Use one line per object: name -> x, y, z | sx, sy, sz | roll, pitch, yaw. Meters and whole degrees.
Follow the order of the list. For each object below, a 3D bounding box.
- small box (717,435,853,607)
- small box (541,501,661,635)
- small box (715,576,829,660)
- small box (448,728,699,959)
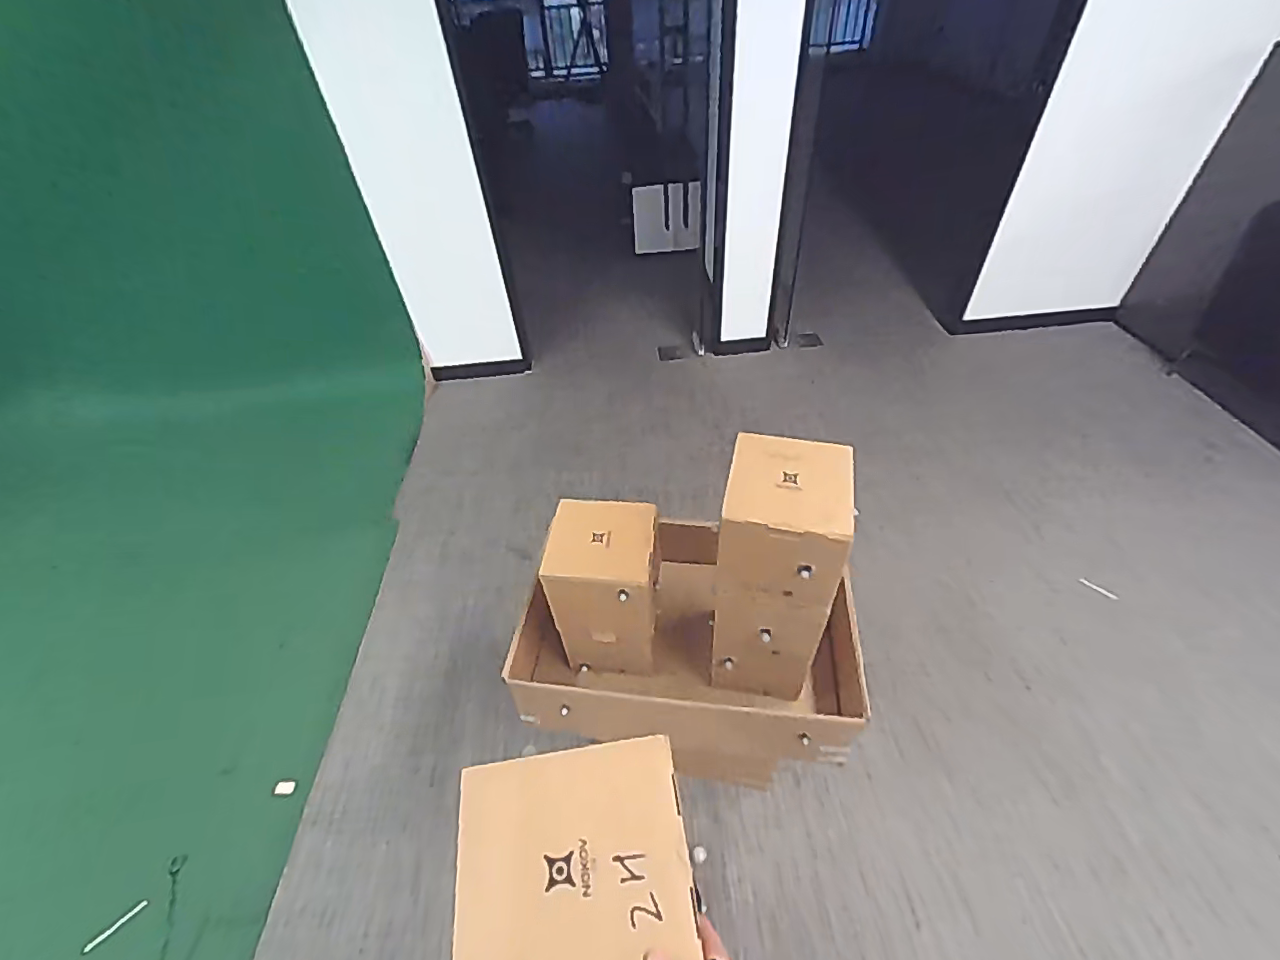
small box -> 0.207, 0.060, 0.787 | 0.168, 0.176, 0.179 | 9, 46, 13
small box -> -0.058, 0.156, 0.952 | 0.179, 0.176, 0.168 | 3, 46, 7
small box -> 0.219, 0.176, 0.902 | 0.168, 0.176, 0.179 | 8, 47, 13
small box -> -0.048, 0.334, 0.473 | 0.179, 0.176, 0.168 | -9, 54, -1
